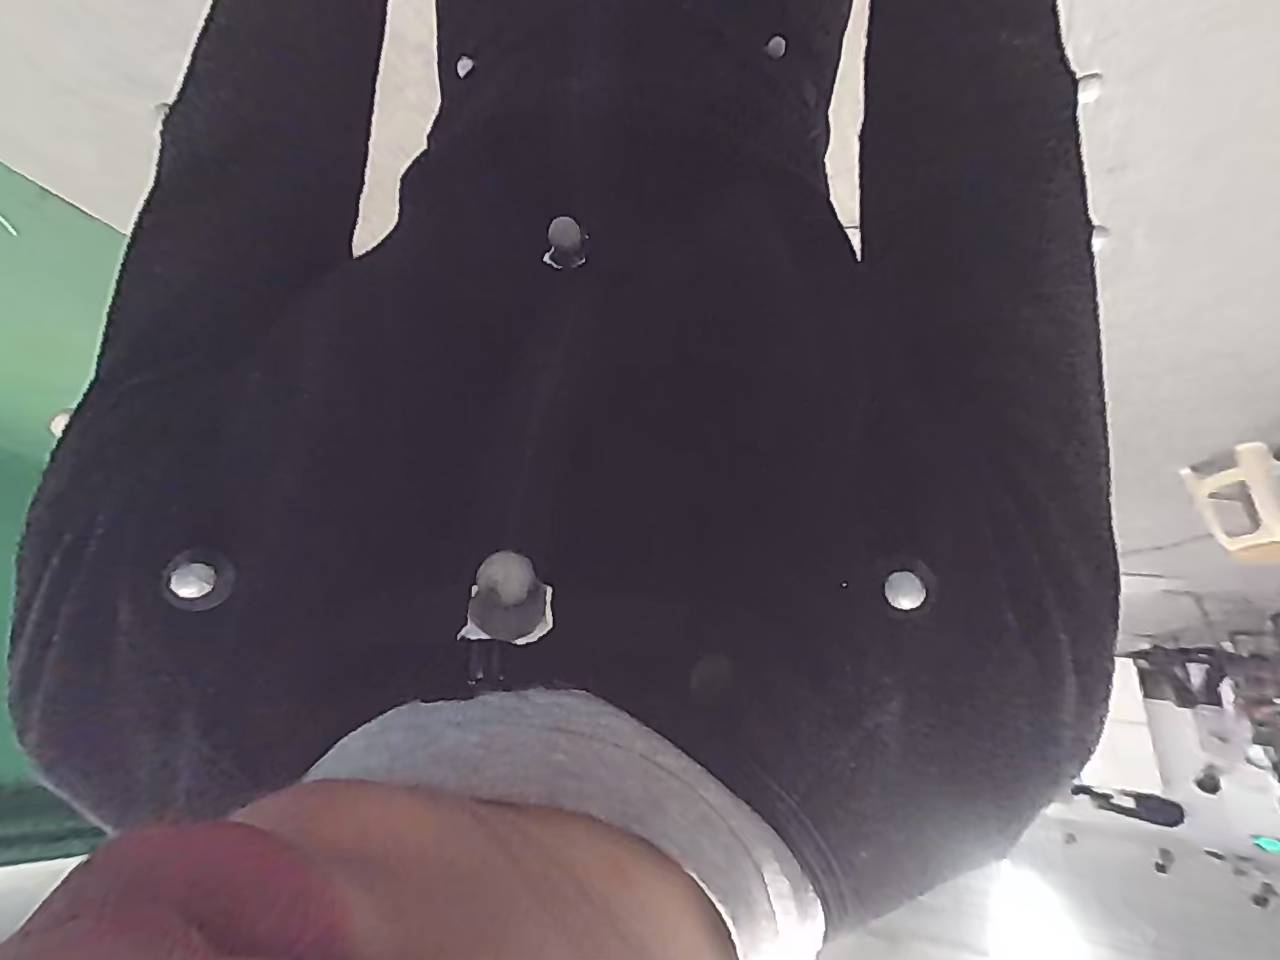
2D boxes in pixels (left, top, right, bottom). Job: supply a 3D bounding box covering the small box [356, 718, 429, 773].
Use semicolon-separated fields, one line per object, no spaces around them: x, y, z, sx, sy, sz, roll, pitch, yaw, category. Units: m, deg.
-0.886;0.954;1.951;0.179;0.176;0.168;-14;151;28;small box
